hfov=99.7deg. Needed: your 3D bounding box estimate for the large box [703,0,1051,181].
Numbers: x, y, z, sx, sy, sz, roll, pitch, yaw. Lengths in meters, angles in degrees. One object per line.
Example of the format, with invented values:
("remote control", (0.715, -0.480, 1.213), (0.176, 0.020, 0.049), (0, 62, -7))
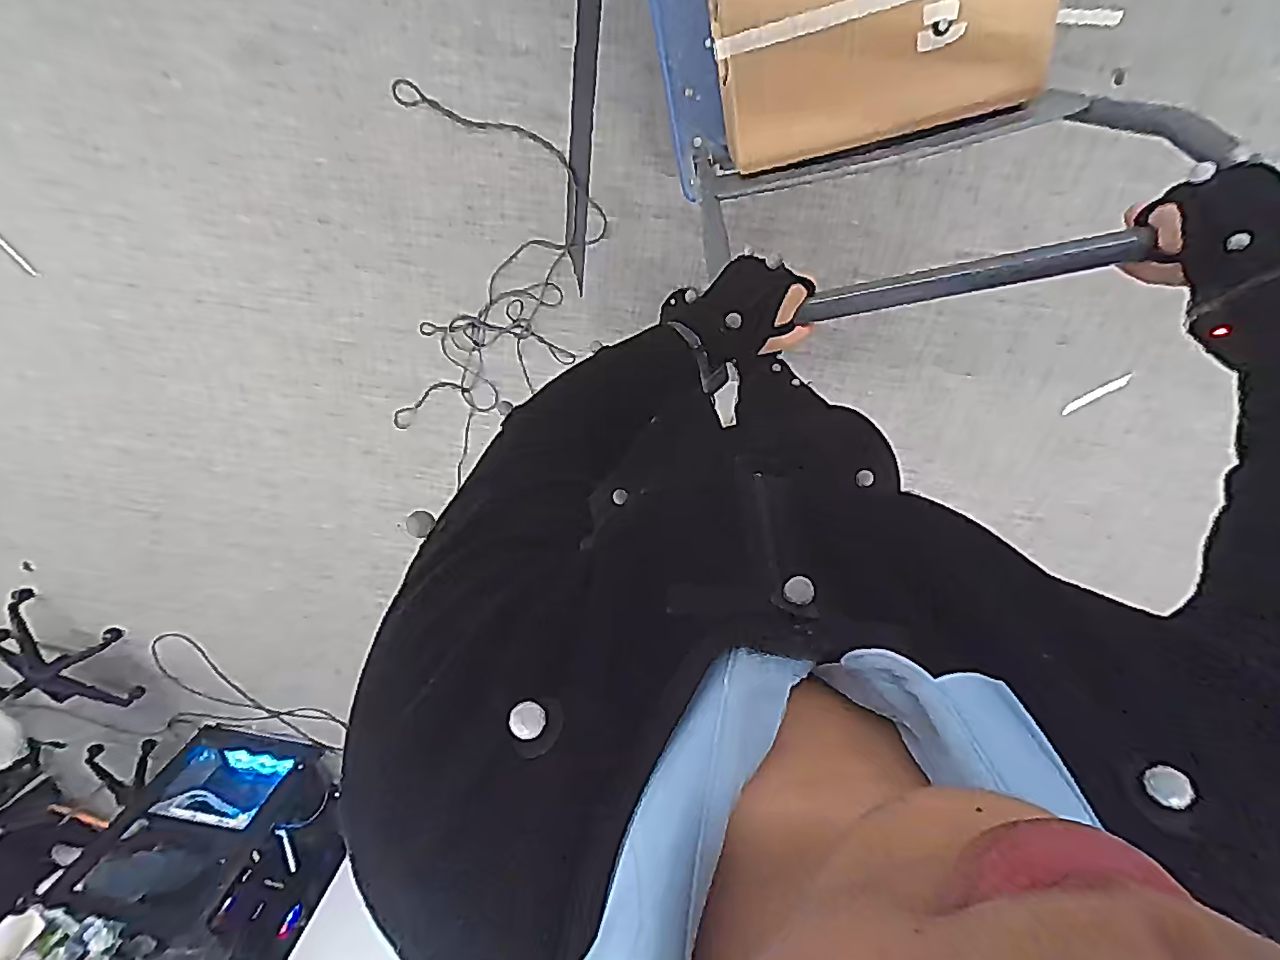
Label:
("large box", (0.312, -0.680, 0.801), (0.408, 0.320, 0.320), (-9, 124, 11))
